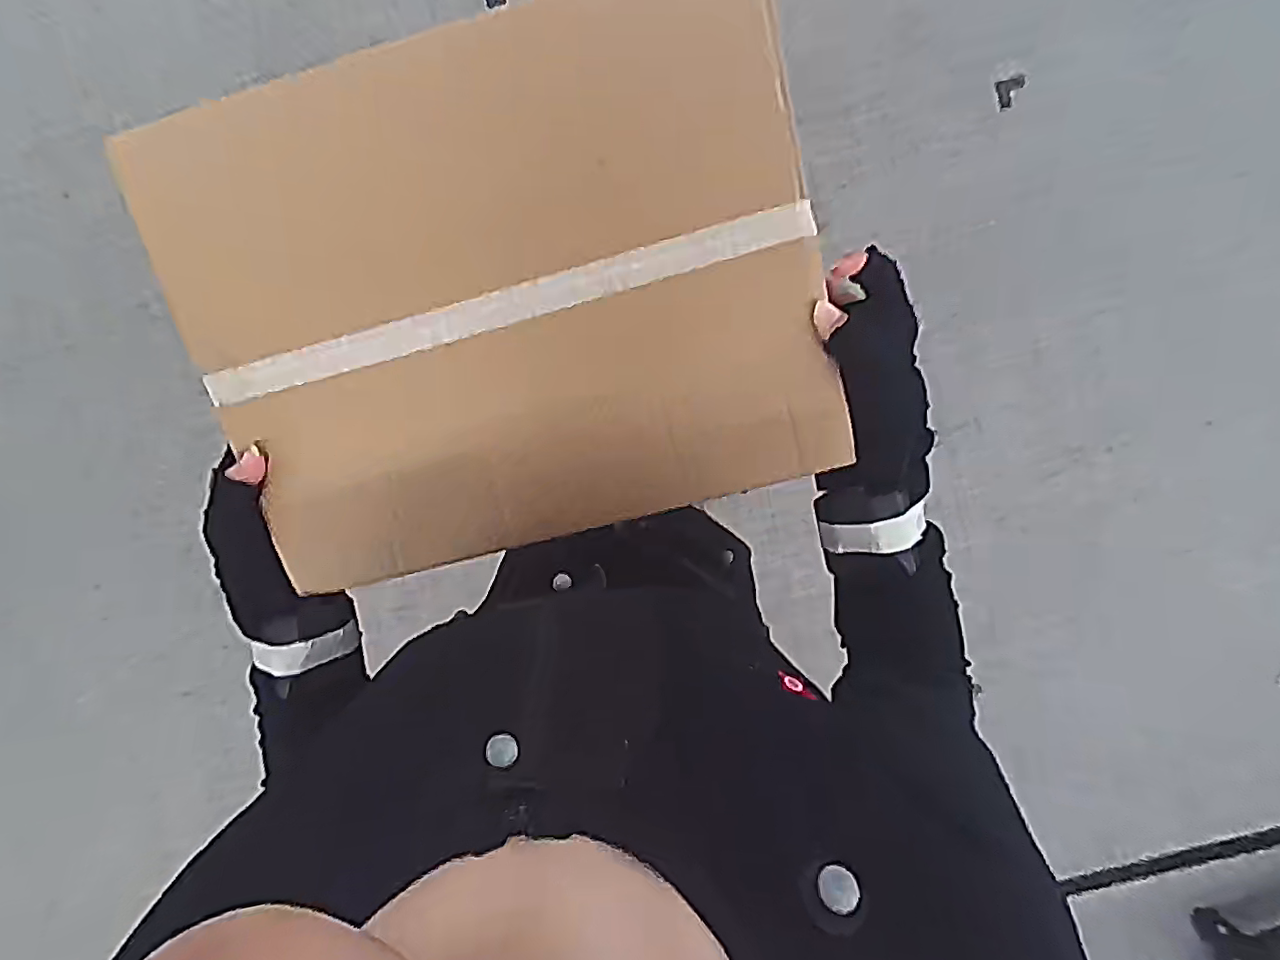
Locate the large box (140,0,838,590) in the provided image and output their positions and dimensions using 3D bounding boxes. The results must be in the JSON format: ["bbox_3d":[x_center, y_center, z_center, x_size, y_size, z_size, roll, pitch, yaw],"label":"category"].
[{"bbox_3d":[-0.086,-0.144,0.503,0.408,0.320,0.320,-14,101,5],"label":"large box"}]
